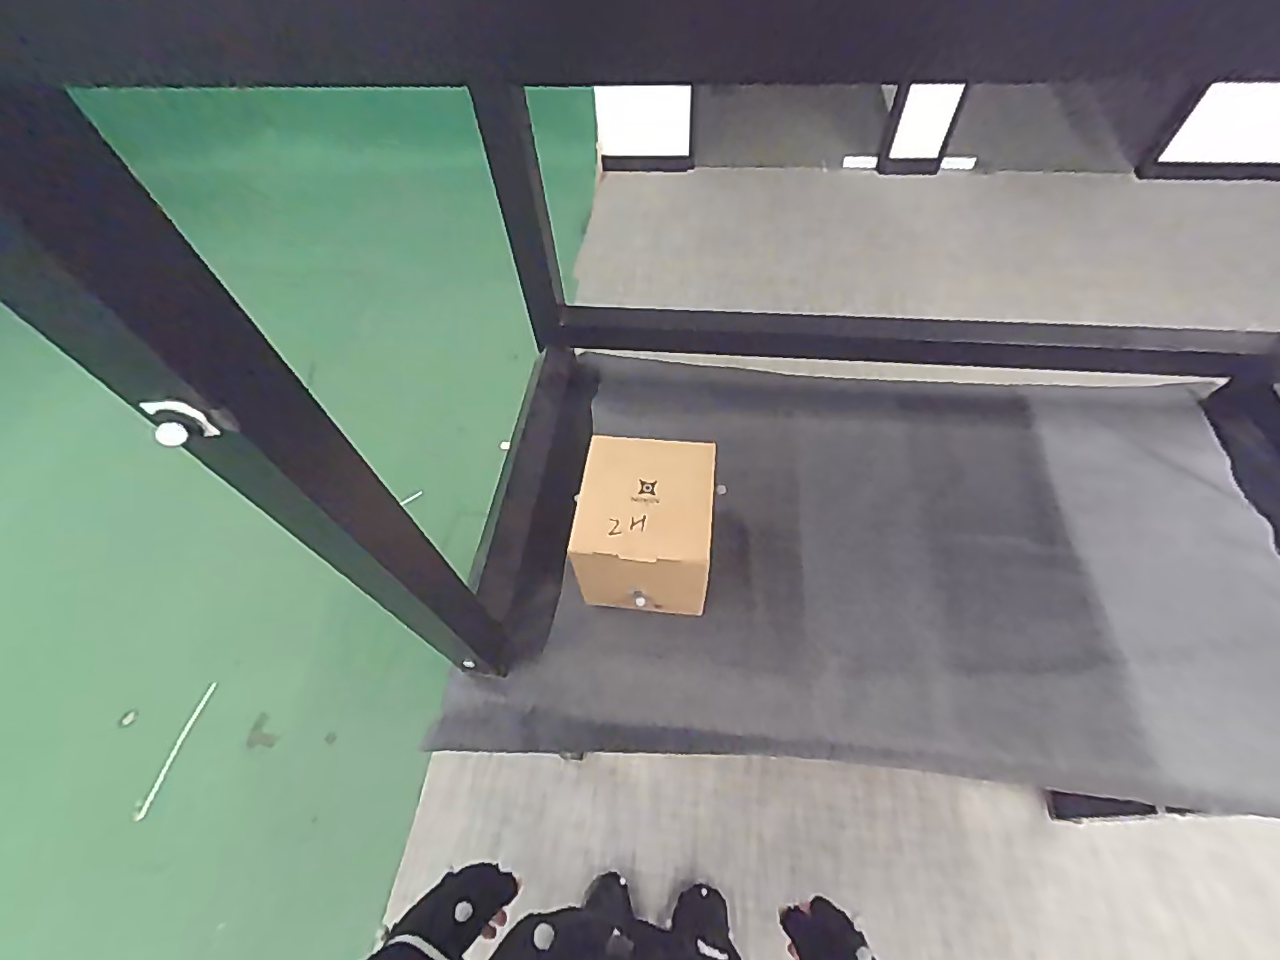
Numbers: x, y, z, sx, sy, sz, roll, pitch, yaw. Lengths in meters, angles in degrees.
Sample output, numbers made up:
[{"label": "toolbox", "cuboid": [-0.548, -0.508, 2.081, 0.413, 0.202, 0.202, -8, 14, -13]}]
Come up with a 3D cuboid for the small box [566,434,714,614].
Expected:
[{"label": "small box", "cuboid": [0.007, 0.061, 0.730, 0.168, 0.176, 0.179, 4, 56, 7]}]
